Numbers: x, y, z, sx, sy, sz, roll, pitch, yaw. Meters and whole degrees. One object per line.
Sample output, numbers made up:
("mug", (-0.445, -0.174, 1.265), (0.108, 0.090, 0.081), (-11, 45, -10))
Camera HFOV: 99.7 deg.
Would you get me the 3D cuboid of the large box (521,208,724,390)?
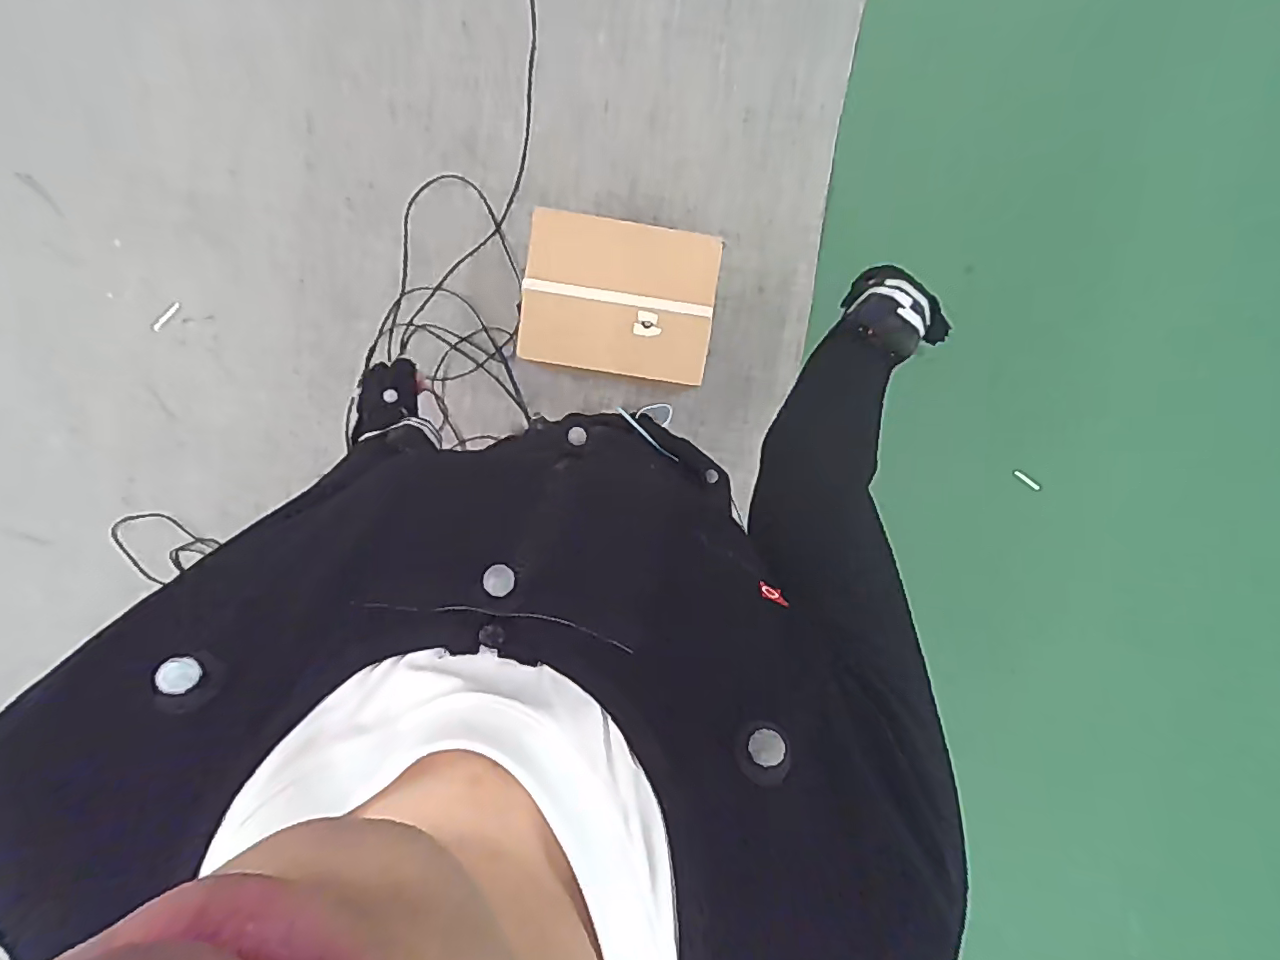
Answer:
("large box", (-0.047, -0.403, 1.288), (0.408, 0.320, 0.320), (8, 97, -4))
